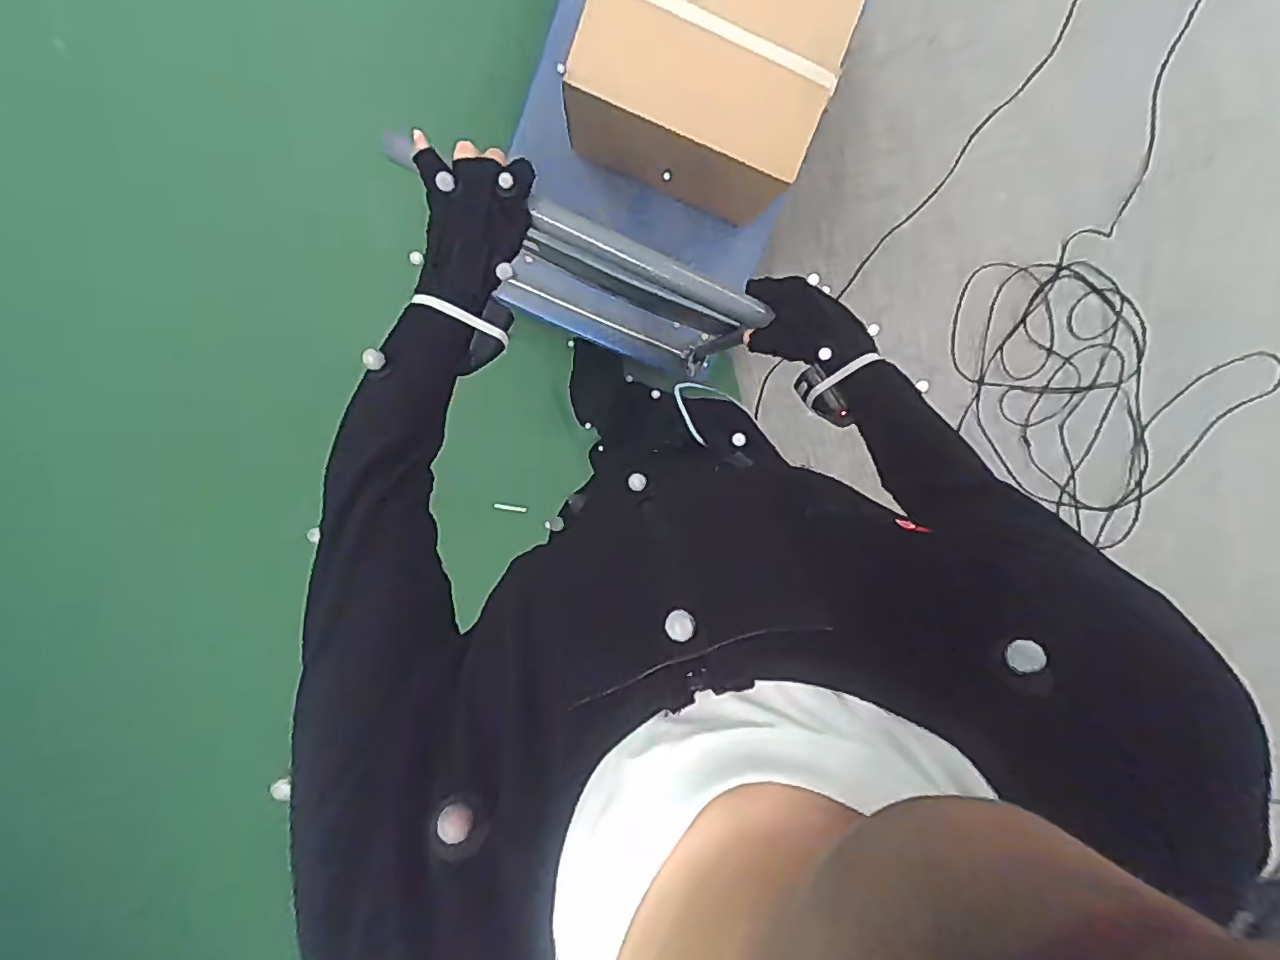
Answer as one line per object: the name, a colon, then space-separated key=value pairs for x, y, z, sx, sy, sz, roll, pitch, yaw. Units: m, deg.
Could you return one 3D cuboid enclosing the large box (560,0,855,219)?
large box: x=0.102 y=-0.732 z=0.985 sx=0.408 sy=0.320 sz=0.320 roll=19 pitch=100 yaw=-8
